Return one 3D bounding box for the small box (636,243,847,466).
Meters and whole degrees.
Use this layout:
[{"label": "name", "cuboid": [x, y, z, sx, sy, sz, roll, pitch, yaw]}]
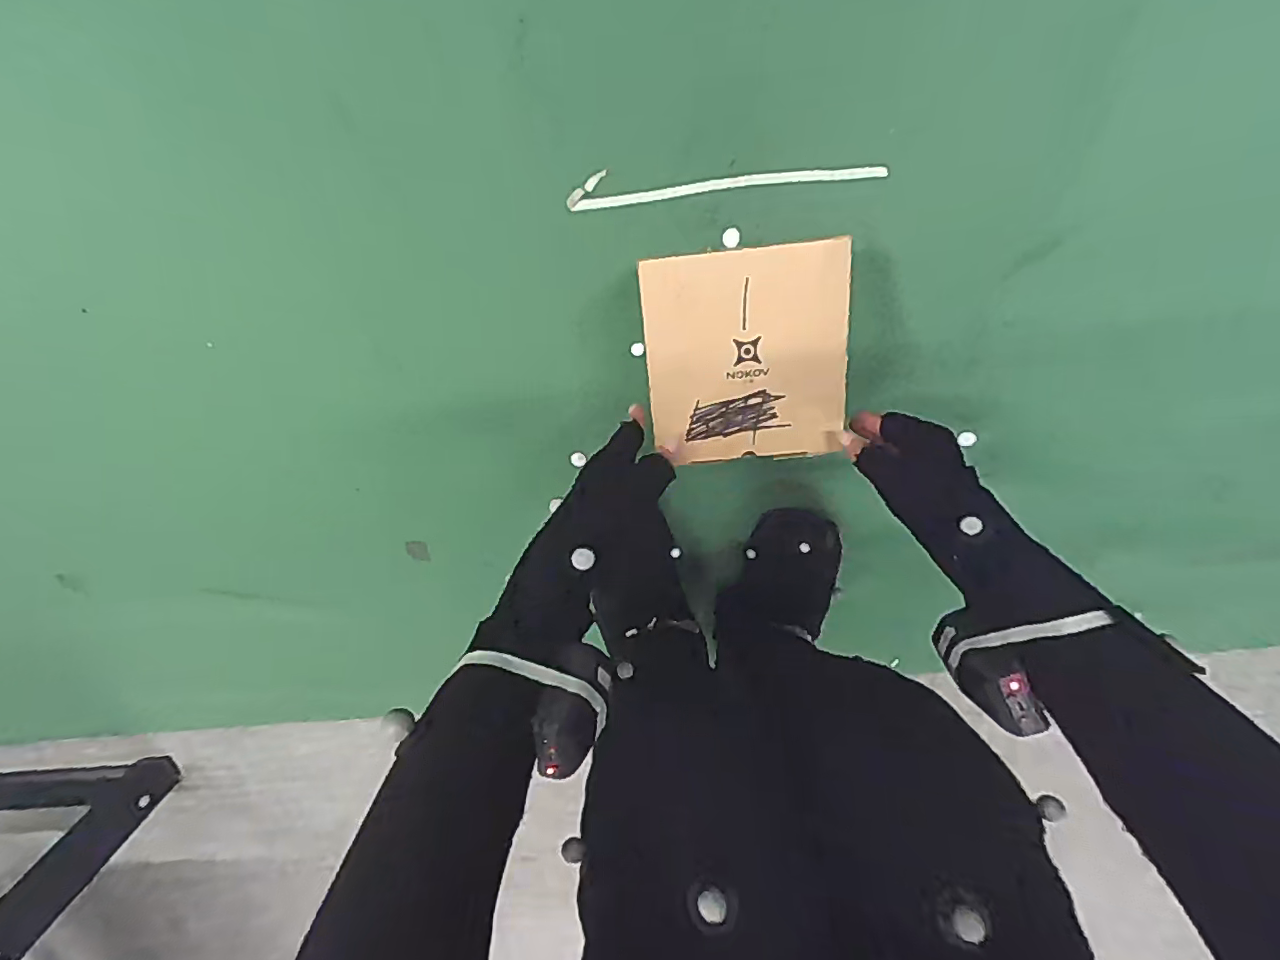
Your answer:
[{"label": "small box", "cuboid": [0.089, -0.128, 0.526, 0.168, 0.176, 0.179, -5, 111, 4]}]
